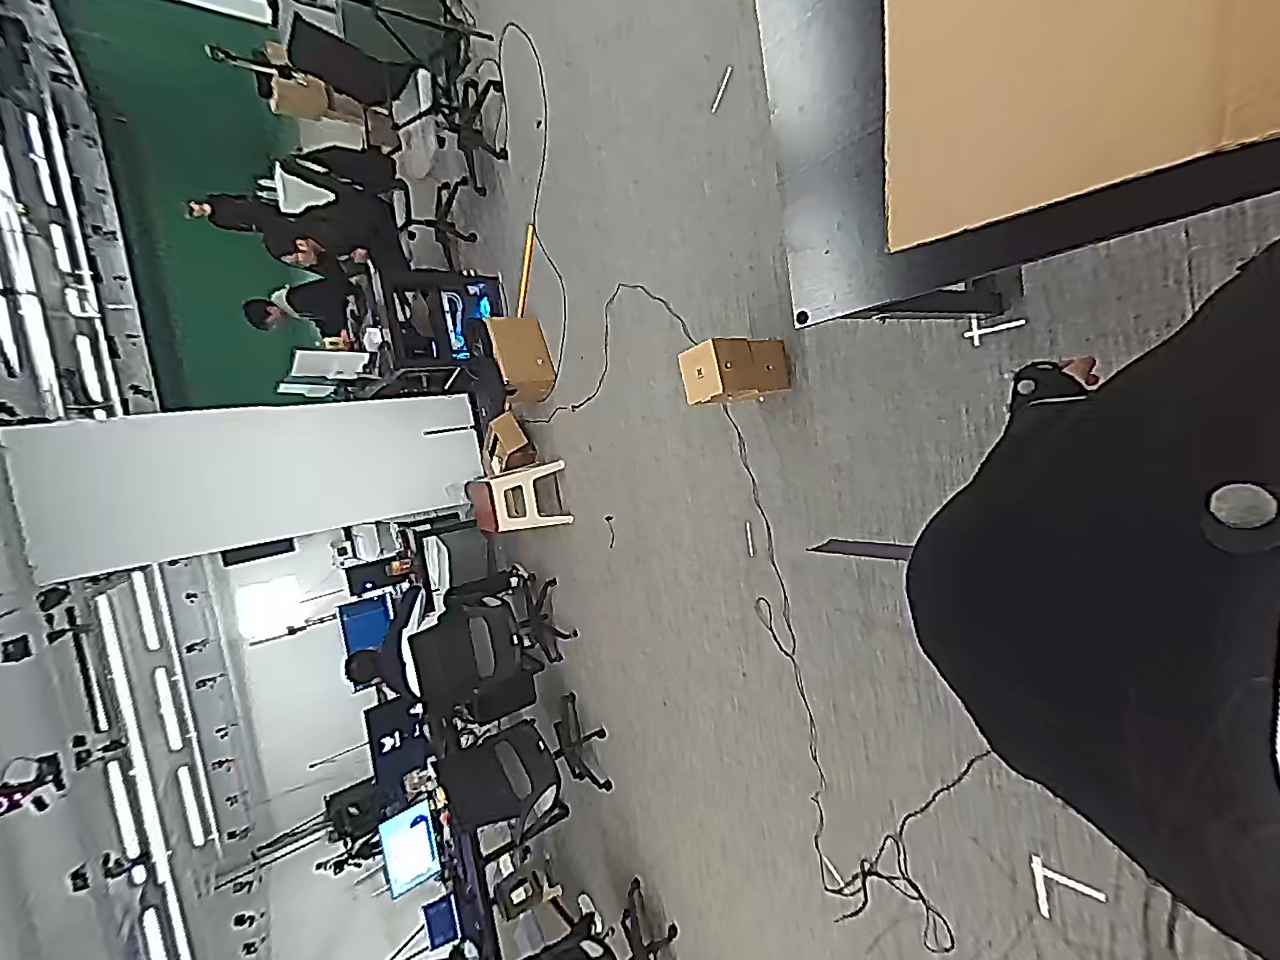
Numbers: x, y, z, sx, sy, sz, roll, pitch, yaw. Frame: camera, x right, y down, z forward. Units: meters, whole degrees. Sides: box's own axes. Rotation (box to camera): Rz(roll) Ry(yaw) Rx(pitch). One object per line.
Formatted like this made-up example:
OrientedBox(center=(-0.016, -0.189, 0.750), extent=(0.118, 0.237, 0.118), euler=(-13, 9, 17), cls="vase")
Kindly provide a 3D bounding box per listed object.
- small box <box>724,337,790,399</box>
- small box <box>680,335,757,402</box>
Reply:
OrientedBox(center=(0.390, -0.384, 1.857), extent=(0.168, 0.176, 0.179), euler=(-8, 94, 54), cls="small box")
OrientedBox(center=(0.259, -0.363, 1.763), extent=(0.168, 0.176, 0.179), euler=(-14, 87, 53), cls="small box")
